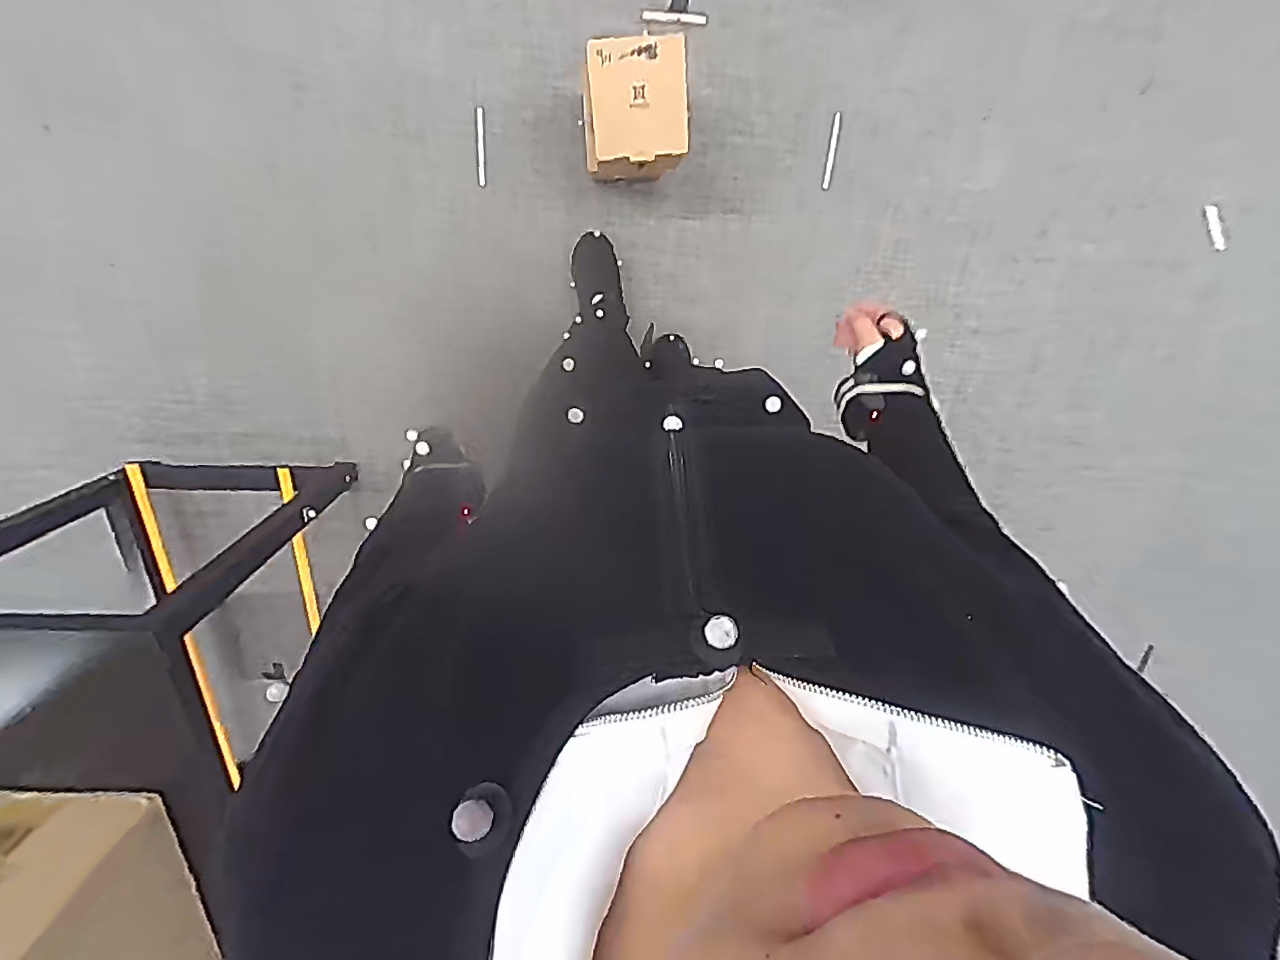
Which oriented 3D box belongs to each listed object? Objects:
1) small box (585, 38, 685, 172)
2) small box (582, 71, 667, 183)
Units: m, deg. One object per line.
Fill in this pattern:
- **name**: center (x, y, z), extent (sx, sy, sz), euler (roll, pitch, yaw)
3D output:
- **small box**: center (-0.006, -0.674, 0.993), extent (0.168, 0.176, 0.179), euler (-4, 113, 0)
- **small box**: center (-0.032, -0.739, 1.143), extent (0.168, 0.176, 0.179), euler (-3, 114, -1)
